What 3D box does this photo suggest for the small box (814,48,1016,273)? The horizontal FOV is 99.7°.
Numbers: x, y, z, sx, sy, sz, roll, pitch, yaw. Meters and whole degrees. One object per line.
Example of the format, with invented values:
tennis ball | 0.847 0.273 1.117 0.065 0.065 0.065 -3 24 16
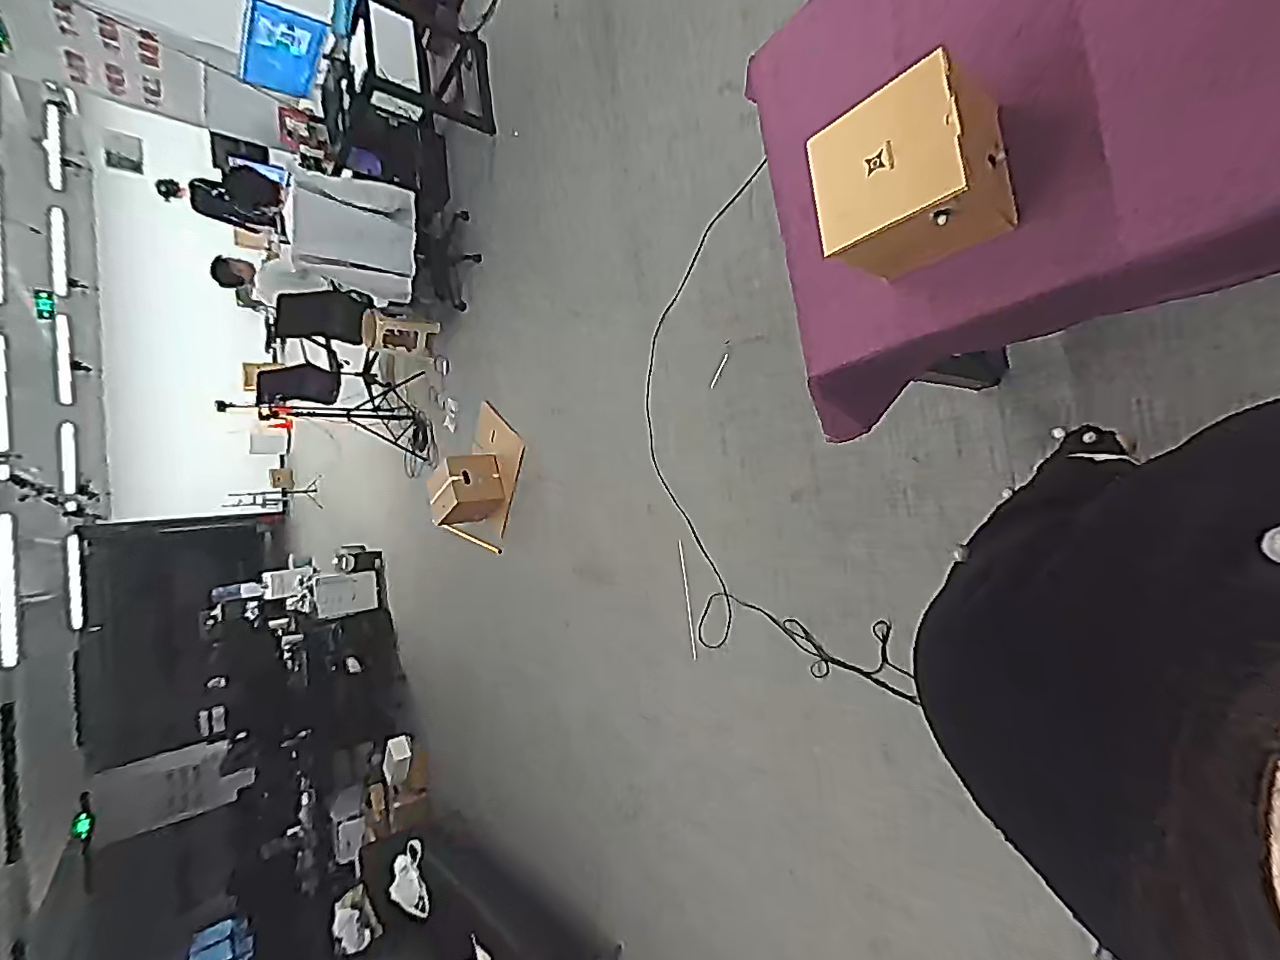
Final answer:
small box | 0.360 -0.396 0.714 0.179 0.176 0.168 -12 83 49
